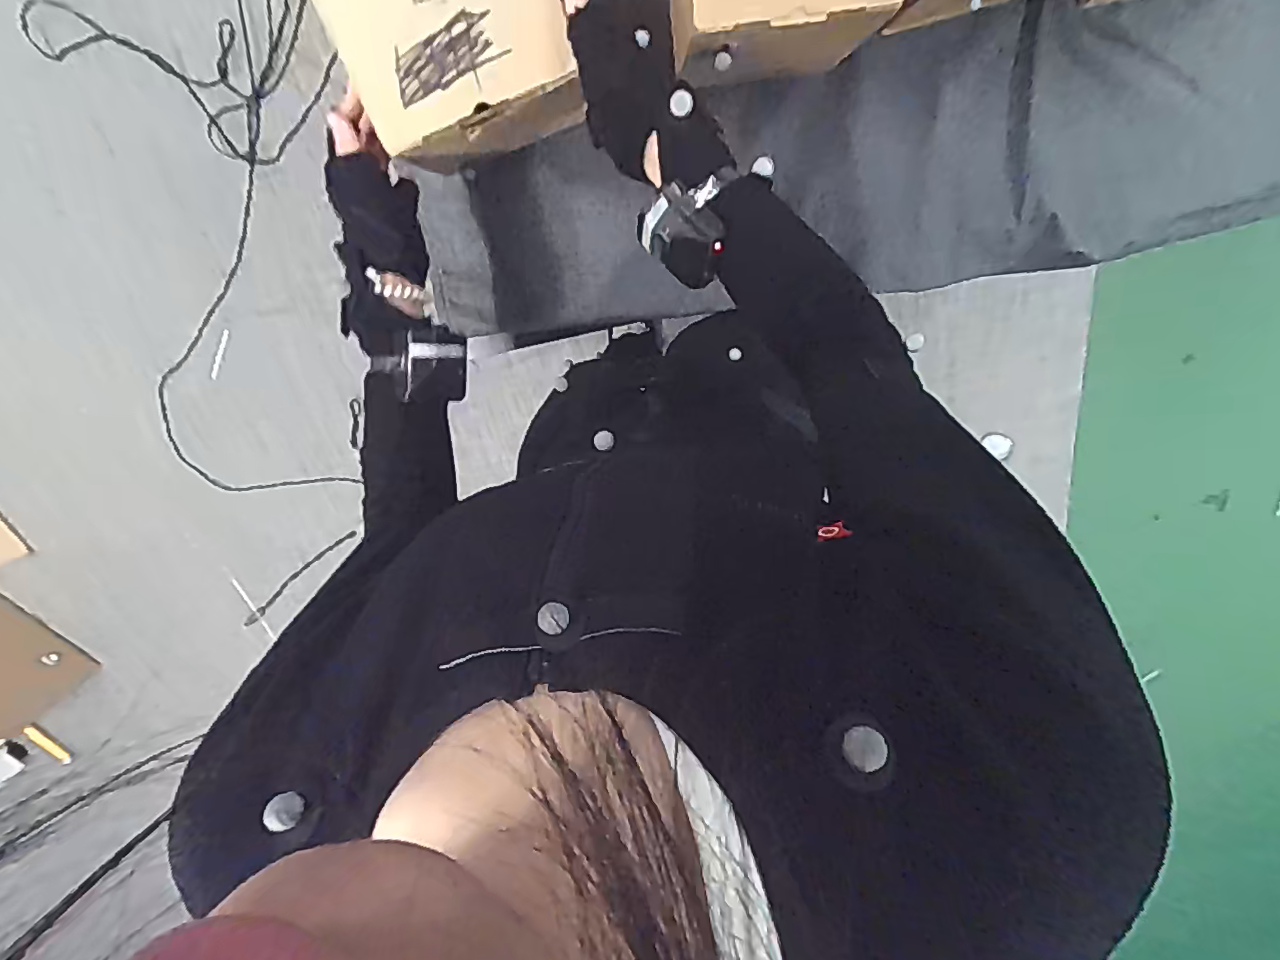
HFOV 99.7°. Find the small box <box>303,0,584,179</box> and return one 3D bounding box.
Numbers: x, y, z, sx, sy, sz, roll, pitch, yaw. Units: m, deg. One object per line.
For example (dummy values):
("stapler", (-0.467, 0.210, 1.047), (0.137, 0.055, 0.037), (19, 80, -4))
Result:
("small box", (-0.153, -0.373, 0.451), (0.168, 0.176, 0.179), (-21, 112, 5))
